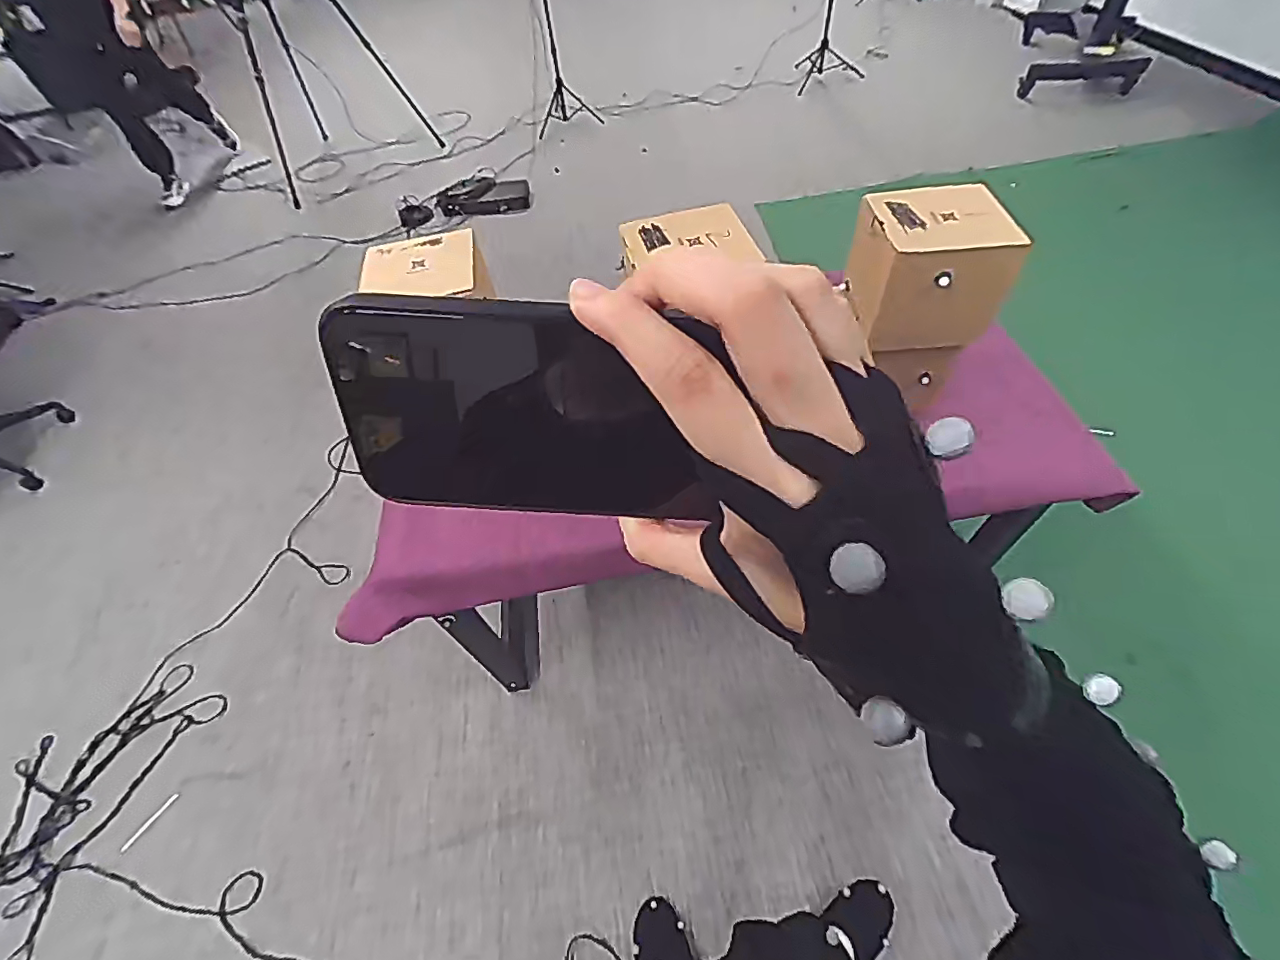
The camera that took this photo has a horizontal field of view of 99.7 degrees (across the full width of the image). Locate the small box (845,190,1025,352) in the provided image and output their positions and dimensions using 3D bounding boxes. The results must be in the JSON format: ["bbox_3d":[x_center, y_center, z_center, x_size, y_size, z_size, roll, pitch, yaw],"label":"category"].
[{"bbox_3d":[0.422,-0.310,0.818,0.179,0.176,0.168,-3,53,3],"label":"small box"}]

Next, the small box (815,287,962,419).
[{"bbox_3d":[0.425,-0.224,0.958,0.179,0.176,0.168,-3,53,4],"label":"small box"}]

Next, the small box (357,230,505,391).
[{"bbox_3d":[-0.317,-0.259,0.854,0.168,0.176,0.179,-11,54,-3],"label":"small box"}]

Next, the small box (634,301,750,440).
[{"bbox_3d":[0.087,-0.191,0.967,0.179,0.176,0.168,-8,53,0],"label":"small box"}]
